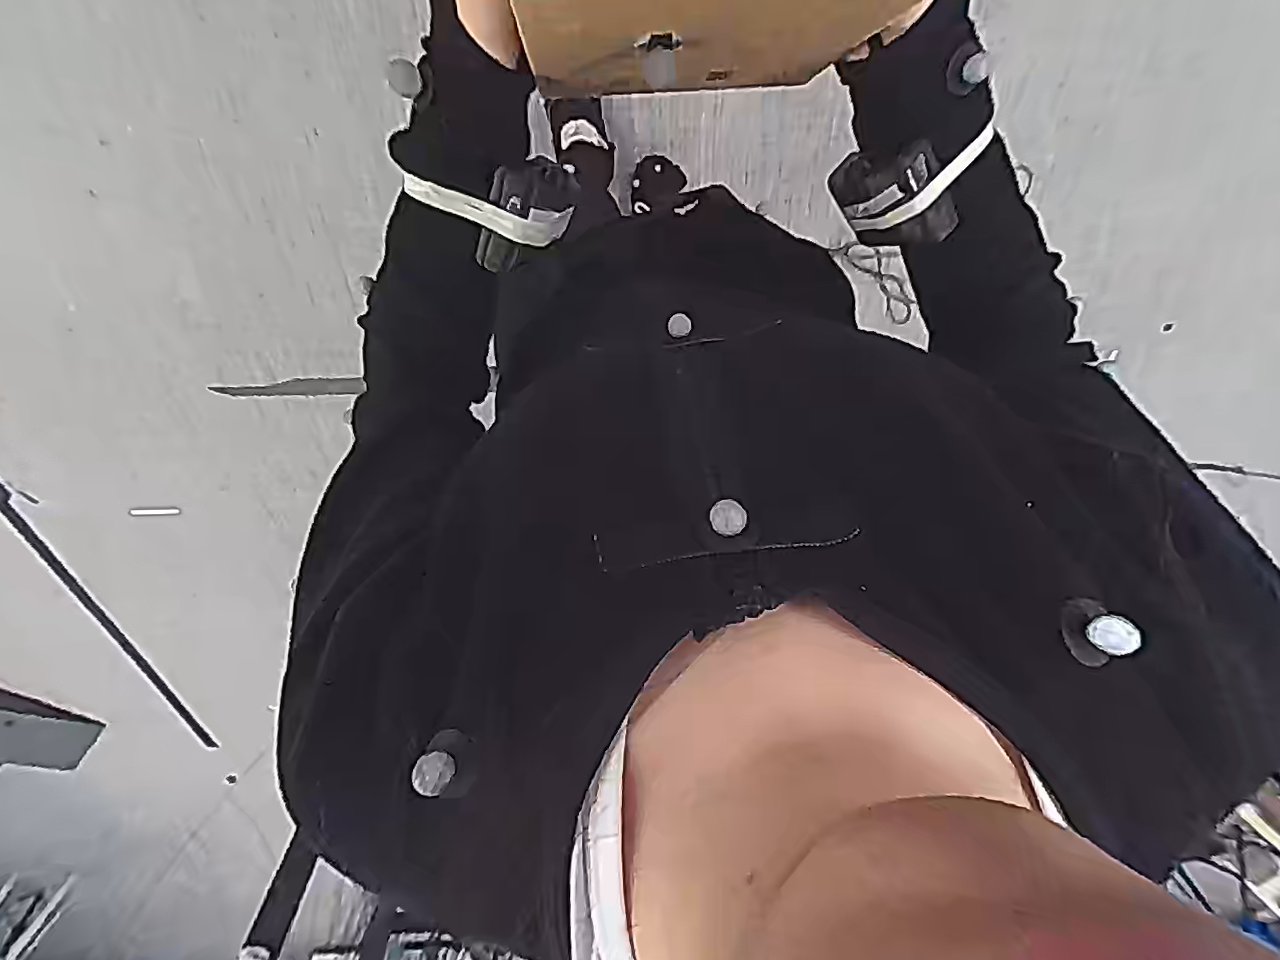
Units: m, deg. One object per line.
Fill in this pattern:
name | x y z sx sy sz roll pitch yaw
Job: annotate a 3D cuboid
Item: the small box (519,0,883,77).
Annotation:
small box | 0.026 -0.281 0.212 0.168 0.176 0.179 -5 114 -3
